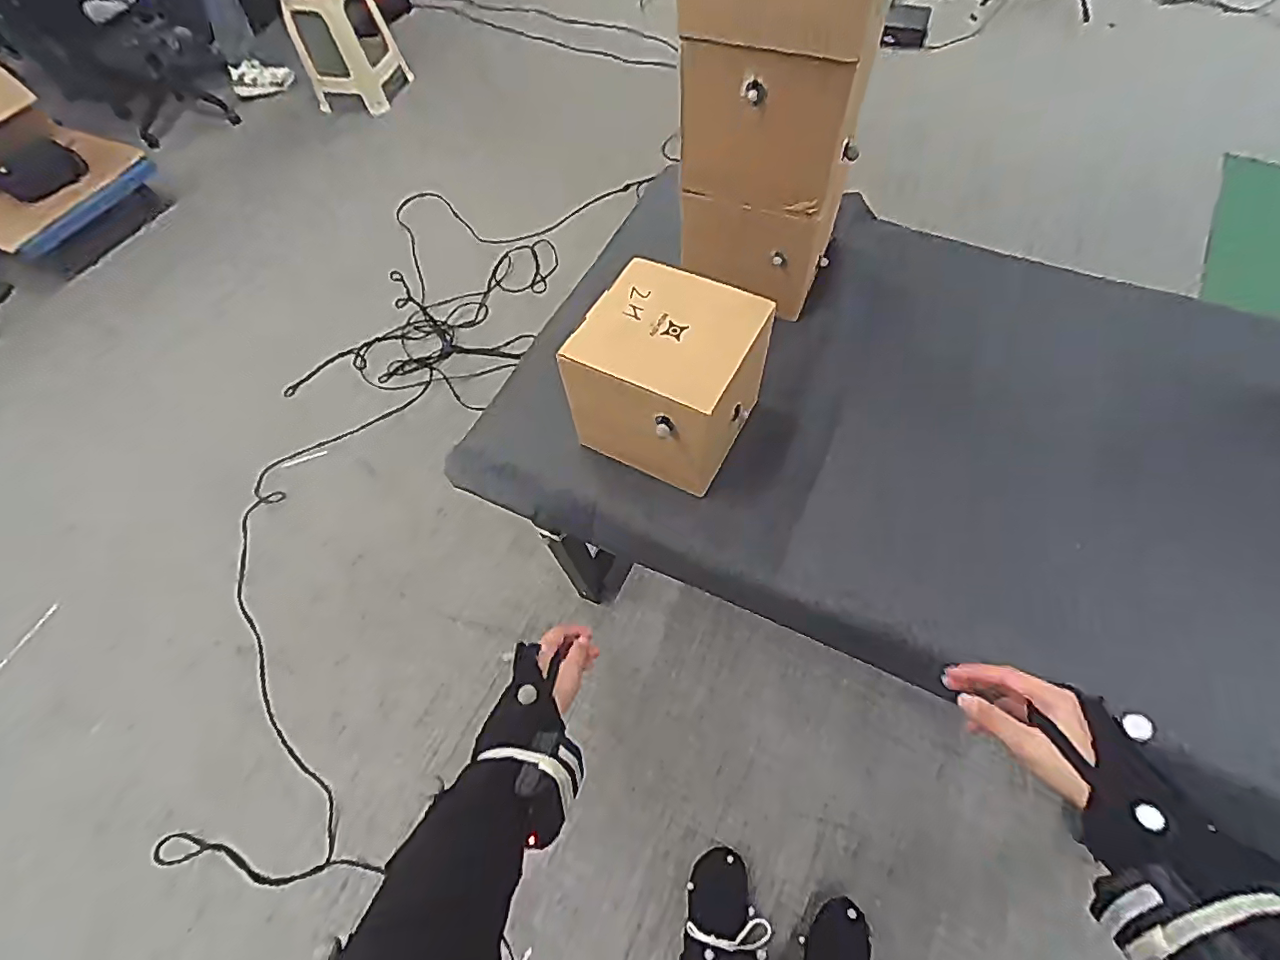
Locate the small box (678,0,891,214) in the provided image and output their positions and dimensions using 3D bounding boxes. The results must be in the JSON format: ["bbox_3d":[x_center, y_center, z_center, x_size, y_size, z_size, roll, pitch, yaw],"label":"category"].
[{"bbox_3d":[0.152,-0.429,0.600,0.179,0.176,0.168,19,68,13],"label":"small box"}]

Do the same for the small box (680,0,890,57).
[{"bbox_3d":[0.138,-0.494,0.449,0.179,0.176,0.168,21,68,14],"label":"small box"}]

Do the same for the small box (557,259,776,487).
[{"bbox_3d":[0.033,-0.114,0.626,0.179,0.176,0.168,24,64,16],"label":"small box"}]
